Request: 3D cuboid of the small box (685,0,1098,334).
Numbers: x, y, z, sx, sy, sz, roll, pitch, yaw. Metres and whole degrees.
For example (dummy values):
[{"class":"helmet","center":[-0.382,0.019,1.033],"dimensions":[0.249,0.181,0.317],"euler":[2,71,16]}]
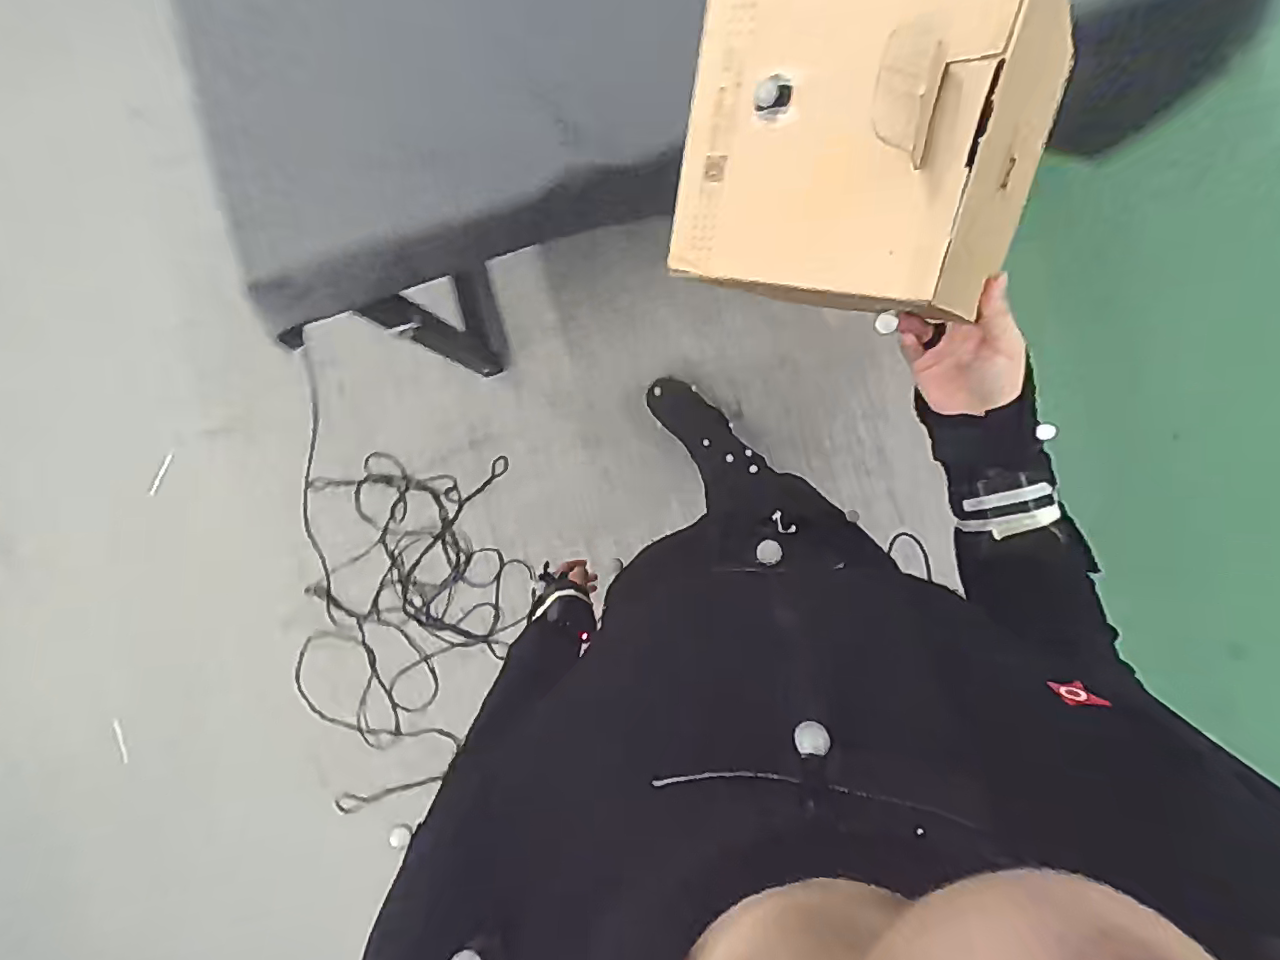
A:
[{"class":"small box","center":[0.154,-0.196,0.348],"dimensions":[0.176,0.179,0.168],"euler":[22,112,33]}]
